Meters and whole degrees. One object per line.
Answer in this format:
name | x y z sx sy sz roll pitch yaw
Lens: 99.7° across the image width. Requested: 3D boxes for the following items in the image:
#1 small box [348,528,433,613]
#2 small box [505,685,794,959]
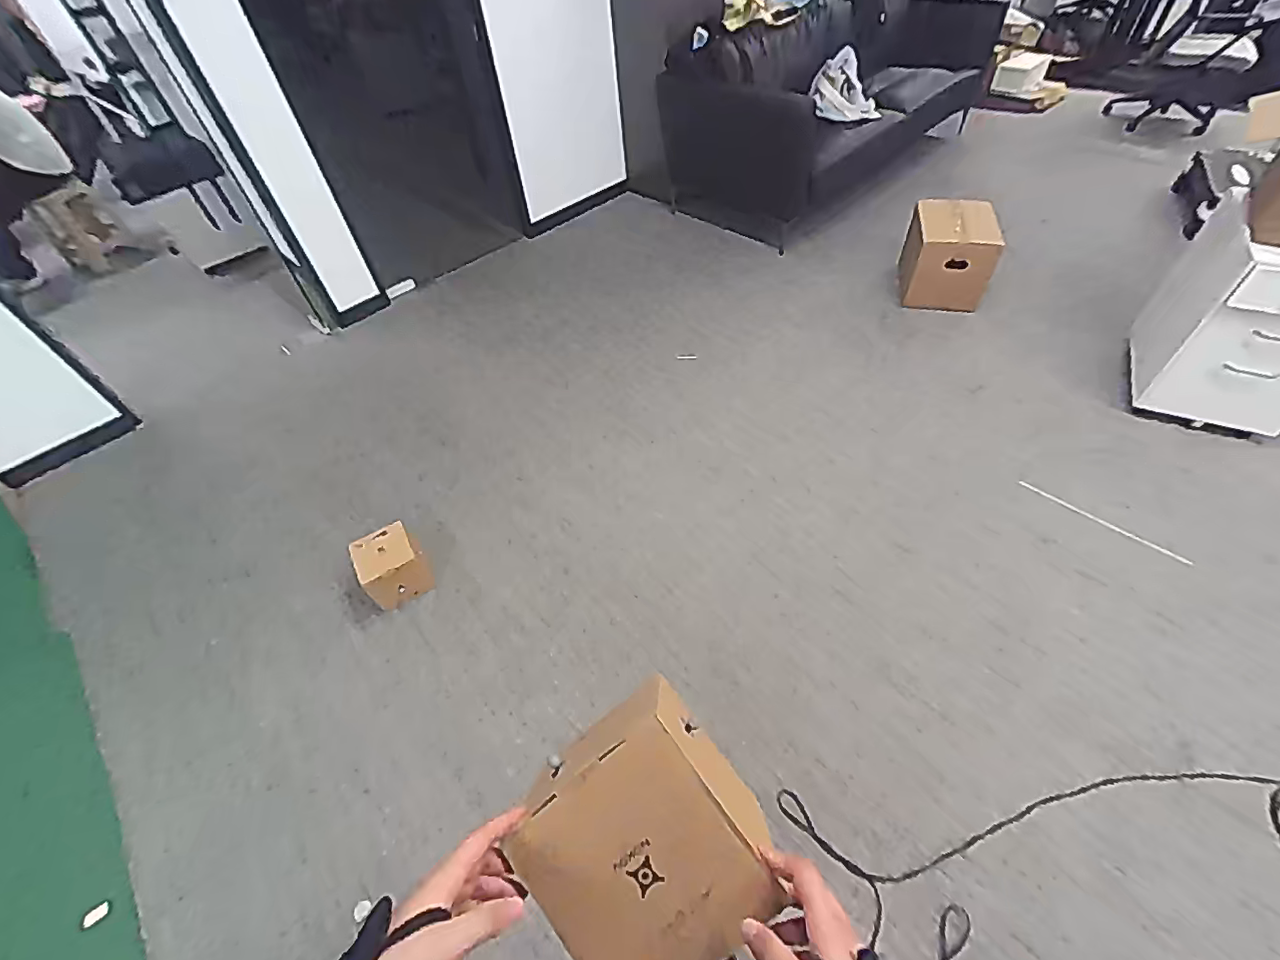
small box | -0.764 0.287 1.670 0.168 0.176 0.179 -28 53 -17
small box | 0.009 0.315 0.504 0.168 0.176 0.179 -39 81 -3
